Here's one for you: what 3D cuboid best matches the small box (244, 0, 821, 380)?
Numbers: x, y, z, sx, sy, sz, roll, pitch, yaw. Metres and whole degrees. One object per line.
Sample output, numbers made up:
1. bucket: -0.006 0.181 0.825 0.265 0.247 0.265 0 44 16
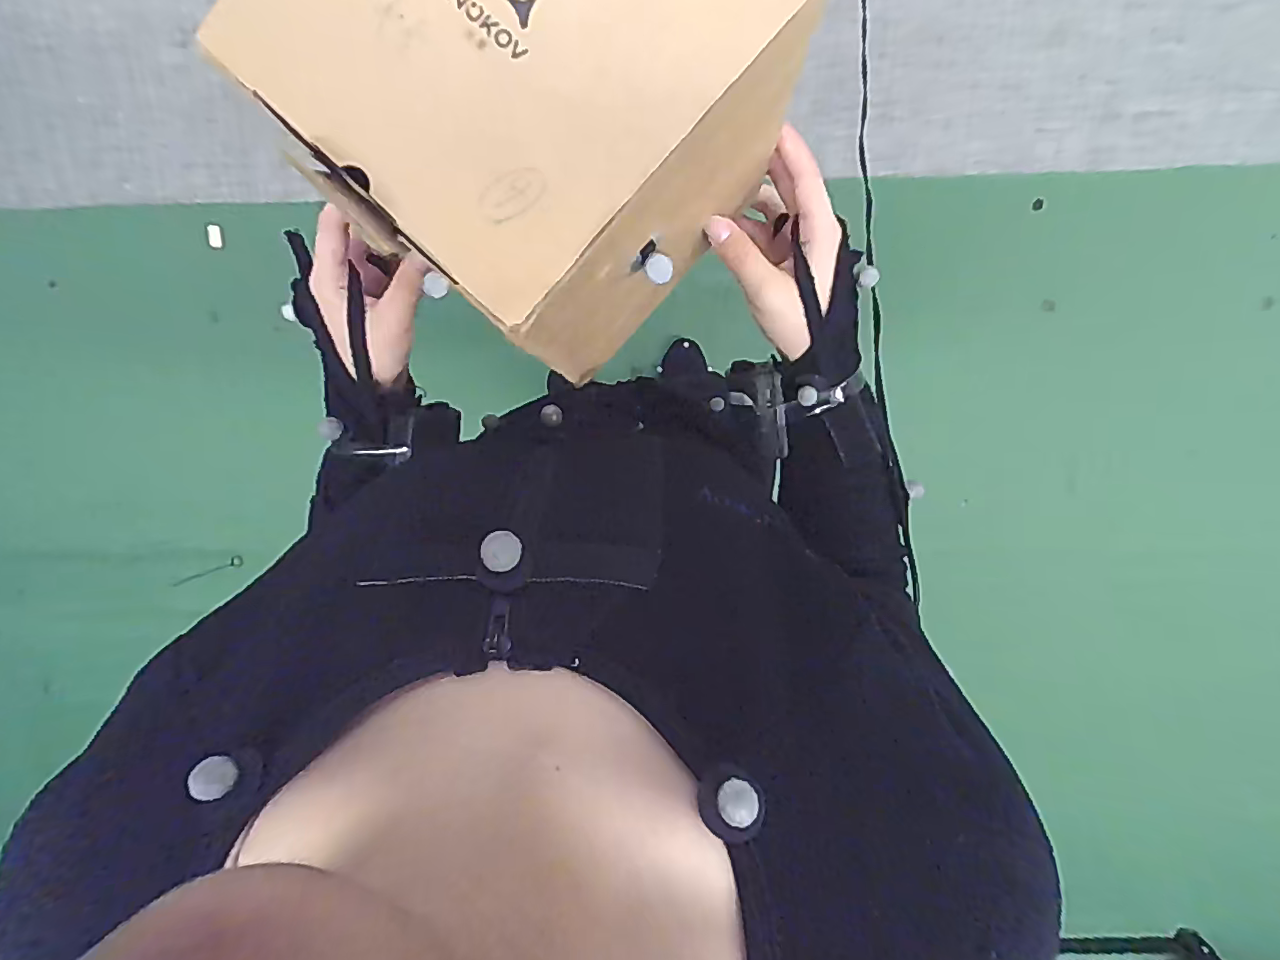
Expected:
1. small box: -0.040 -0.174 0.290 0.168 0.176 0.179 43 94 0
